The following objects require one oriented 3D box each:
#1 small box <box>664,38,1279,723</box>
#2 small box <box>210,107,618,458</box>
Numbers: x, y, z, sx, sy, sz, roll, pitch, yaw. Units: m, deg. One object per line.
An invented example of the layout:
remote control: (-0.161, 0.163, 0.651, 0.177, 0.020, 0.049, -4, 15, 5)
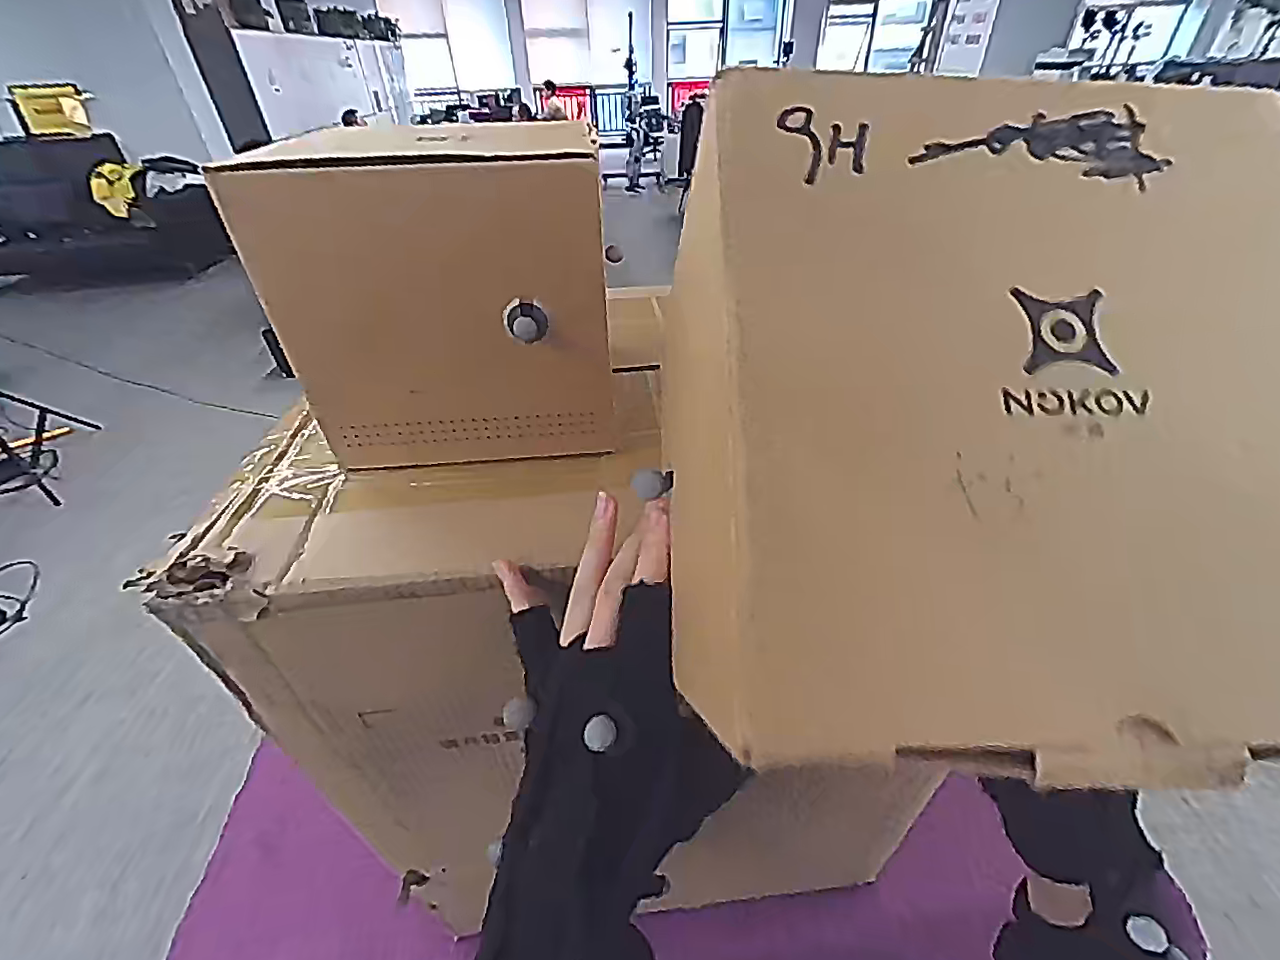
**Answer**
small box: (0.099, -0.017, 0.208, 0.168, 0.176, 0.179, 1, 76, -2)
small box: (-0.106, -0.130, 0.349, 0.179, 0.176, 0.168, -5, 38, -3)
